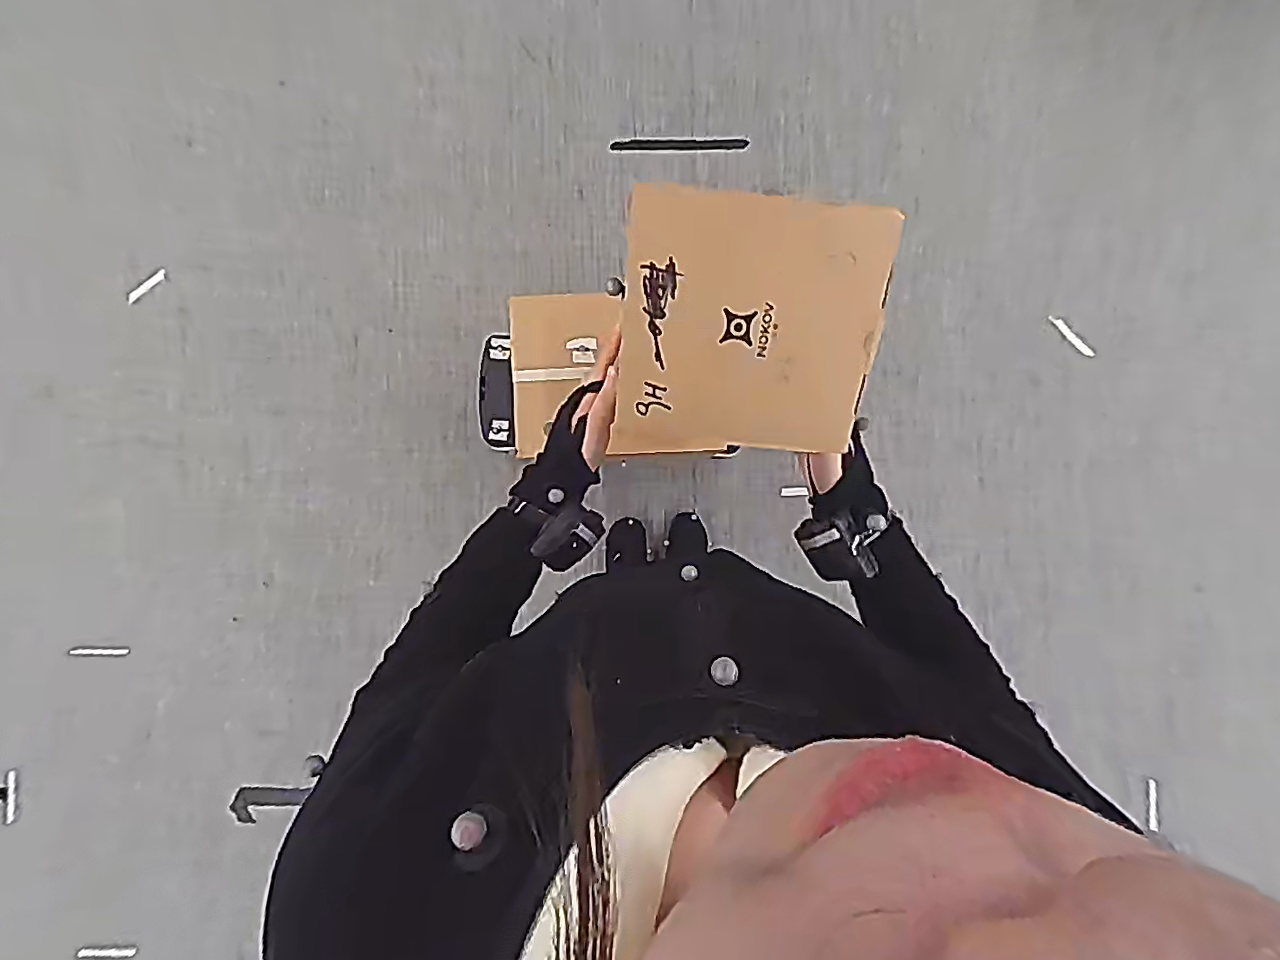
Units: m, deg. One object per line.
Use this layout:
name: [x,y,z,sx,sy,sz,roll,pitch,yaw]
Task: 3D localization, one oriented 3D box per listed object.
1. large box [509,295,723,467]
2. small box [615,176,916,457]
large box: [-0.041,-0.196,1.172,0.408,0.320,0.320,-3,88,0]
small box: [0.075,-0.128,0.432,0.179,0.176,0.168,5,110,-4]
